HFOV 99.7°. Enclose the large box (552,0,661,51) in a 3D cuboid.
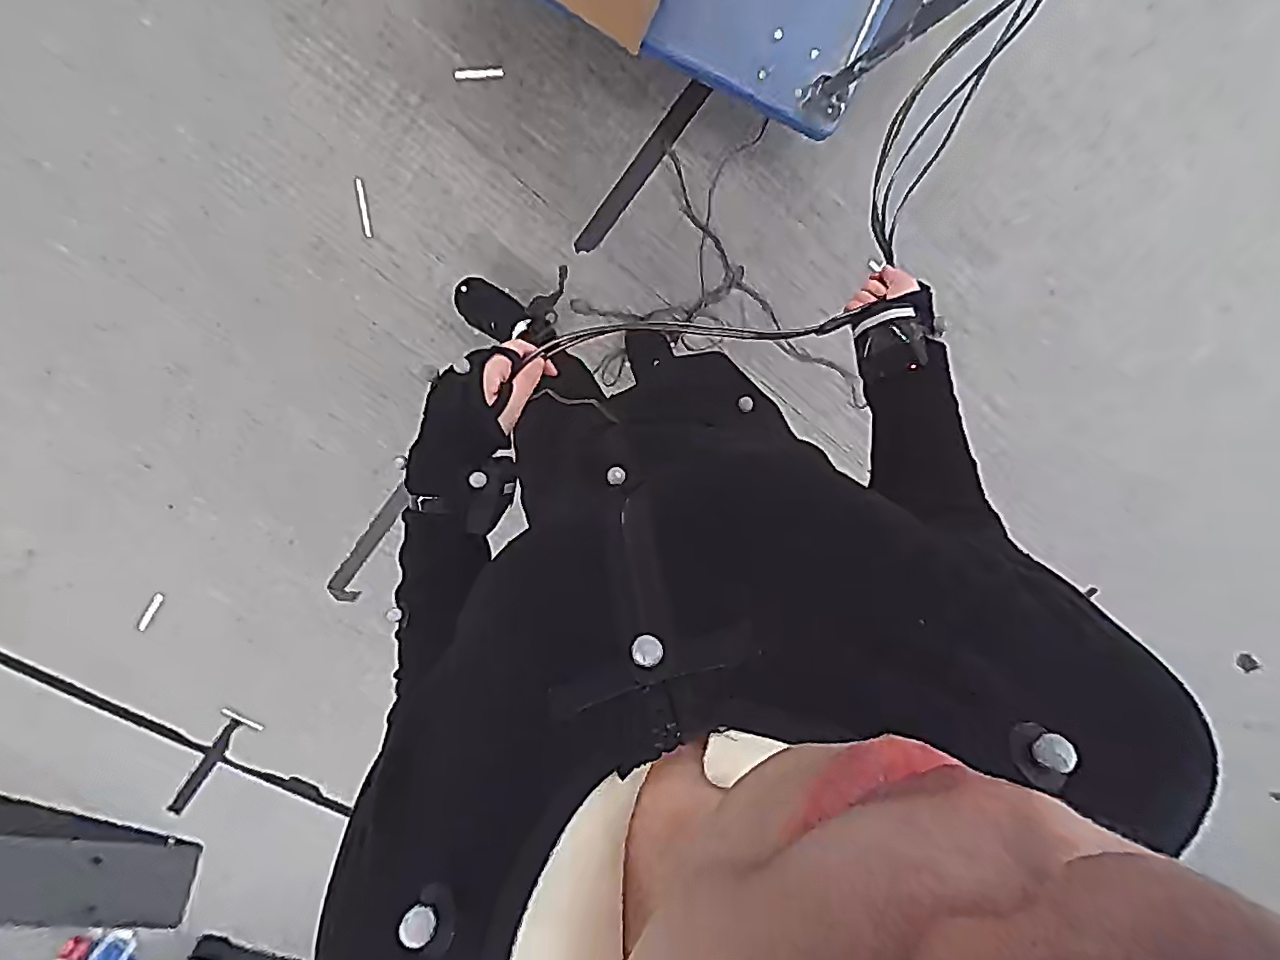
[{"bbox_3d":[-0.106,-0.960,0.804,0.408,0.320,0.320,26,107,-11],"label":"large box"}]
